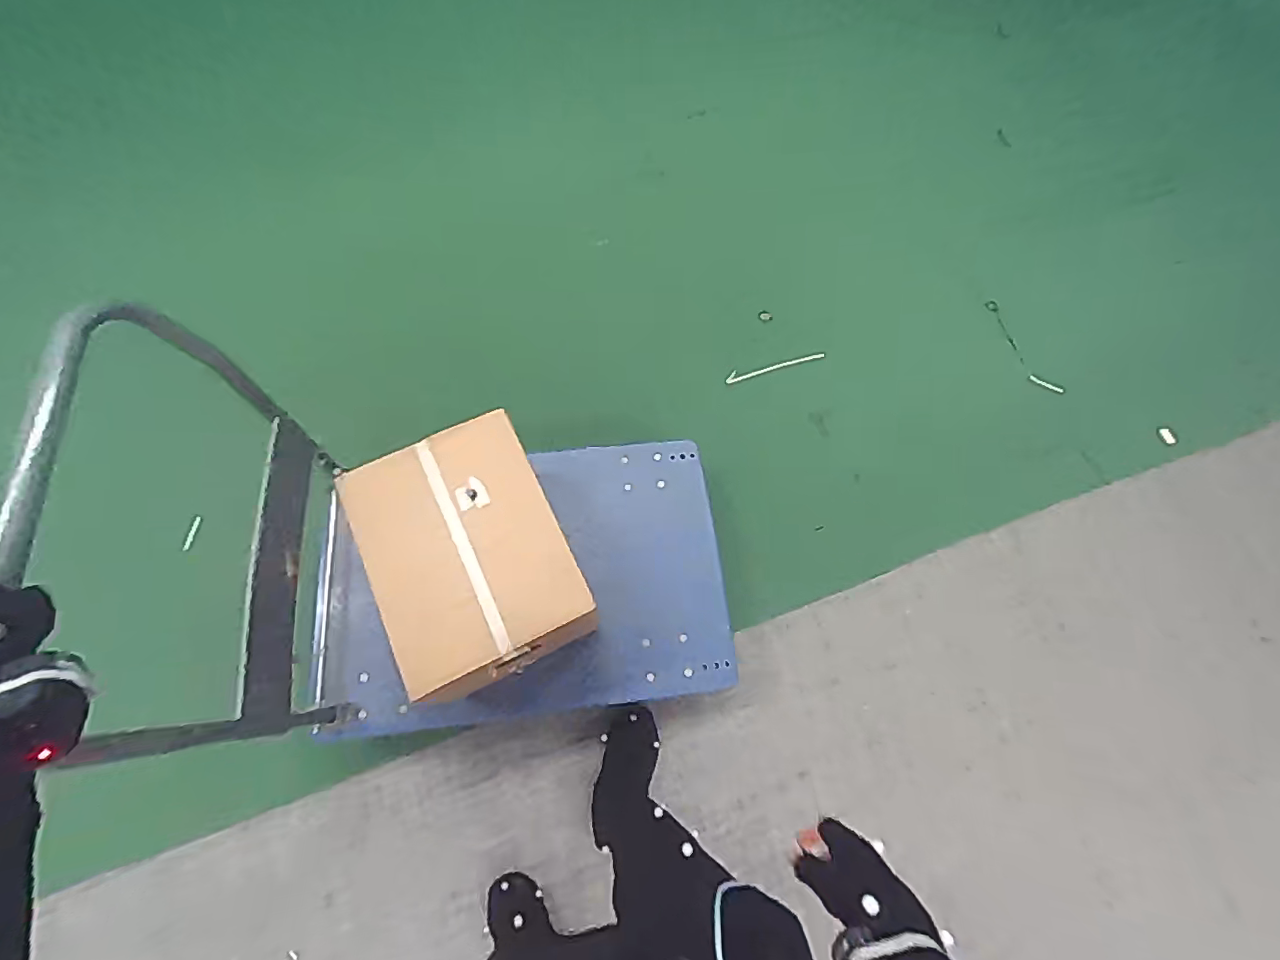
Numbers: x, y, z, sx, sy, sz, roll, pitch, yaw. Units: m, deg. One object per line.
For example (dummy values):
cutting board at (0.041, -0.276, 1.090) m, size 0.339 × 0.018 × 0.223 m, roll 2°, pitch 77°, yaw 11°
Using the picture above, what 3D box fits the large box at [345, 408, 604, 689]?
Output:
large box at (-0.293, 0.145, 1.048) m, size 0.320 × 0.320 × 0.408 m, roll -24°, pitch 72°, yaw -12°
